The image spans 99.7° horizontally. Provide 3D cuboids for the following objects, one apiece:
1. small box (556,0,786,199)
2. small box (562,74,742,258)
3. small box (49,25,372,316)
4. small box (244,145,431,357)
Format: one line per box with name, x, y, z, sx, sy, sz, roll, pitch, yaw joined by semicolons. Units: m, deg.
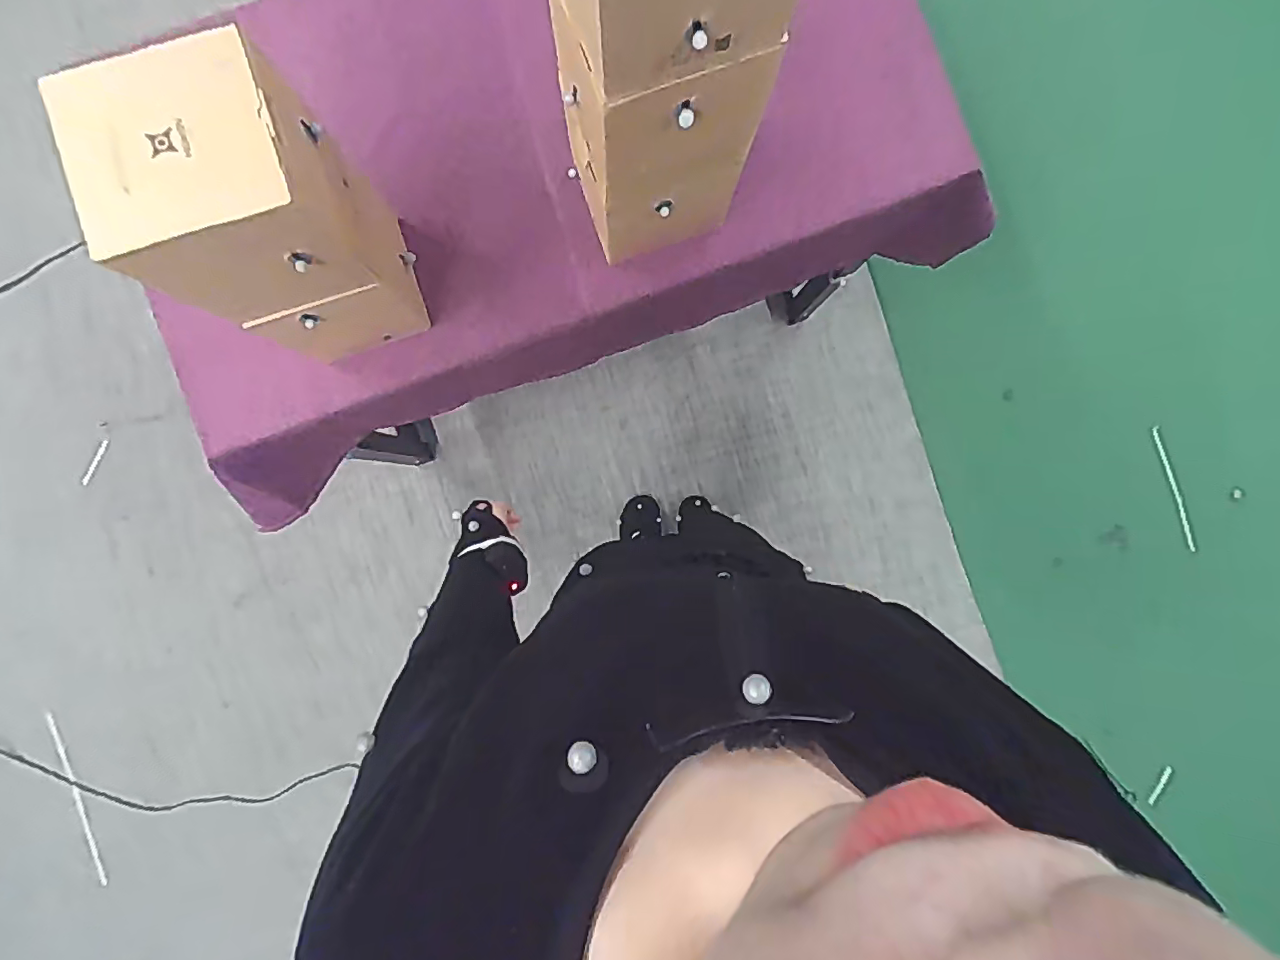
small box;0.020;-0.425;0.549;0.179;0.176;0.168;-20;90;0
small box;0.014;-0.421;0.711;0.179;0.176;0.168;-19;89;-2
small box;-0.396;-0.286;0.538;0.179;0.176;0.168;-17;89;-1
small box;-0.399;-0.282;0.702;0.168;0.176;0.179;-18;89;-1
